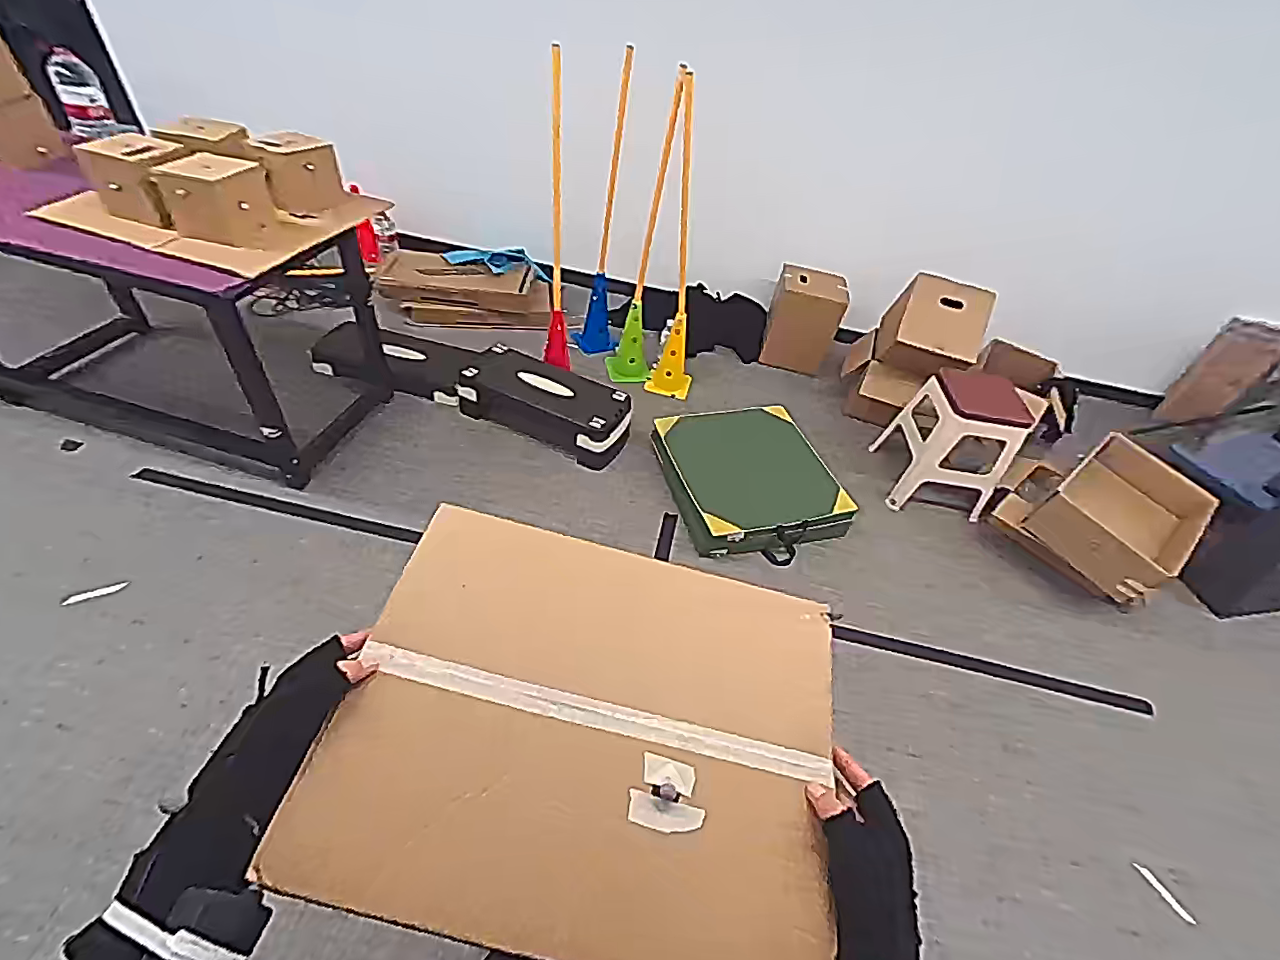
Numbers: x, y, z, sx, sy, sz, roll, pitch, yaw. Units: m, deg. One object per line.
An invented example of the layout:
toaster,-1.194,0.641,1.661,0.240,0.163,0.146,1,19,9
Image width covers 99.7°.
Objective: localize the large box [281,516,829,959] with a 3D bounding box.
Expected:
large box,-0.057,0.287,0.583,0.408,0.320,0.320,15,53,-1
